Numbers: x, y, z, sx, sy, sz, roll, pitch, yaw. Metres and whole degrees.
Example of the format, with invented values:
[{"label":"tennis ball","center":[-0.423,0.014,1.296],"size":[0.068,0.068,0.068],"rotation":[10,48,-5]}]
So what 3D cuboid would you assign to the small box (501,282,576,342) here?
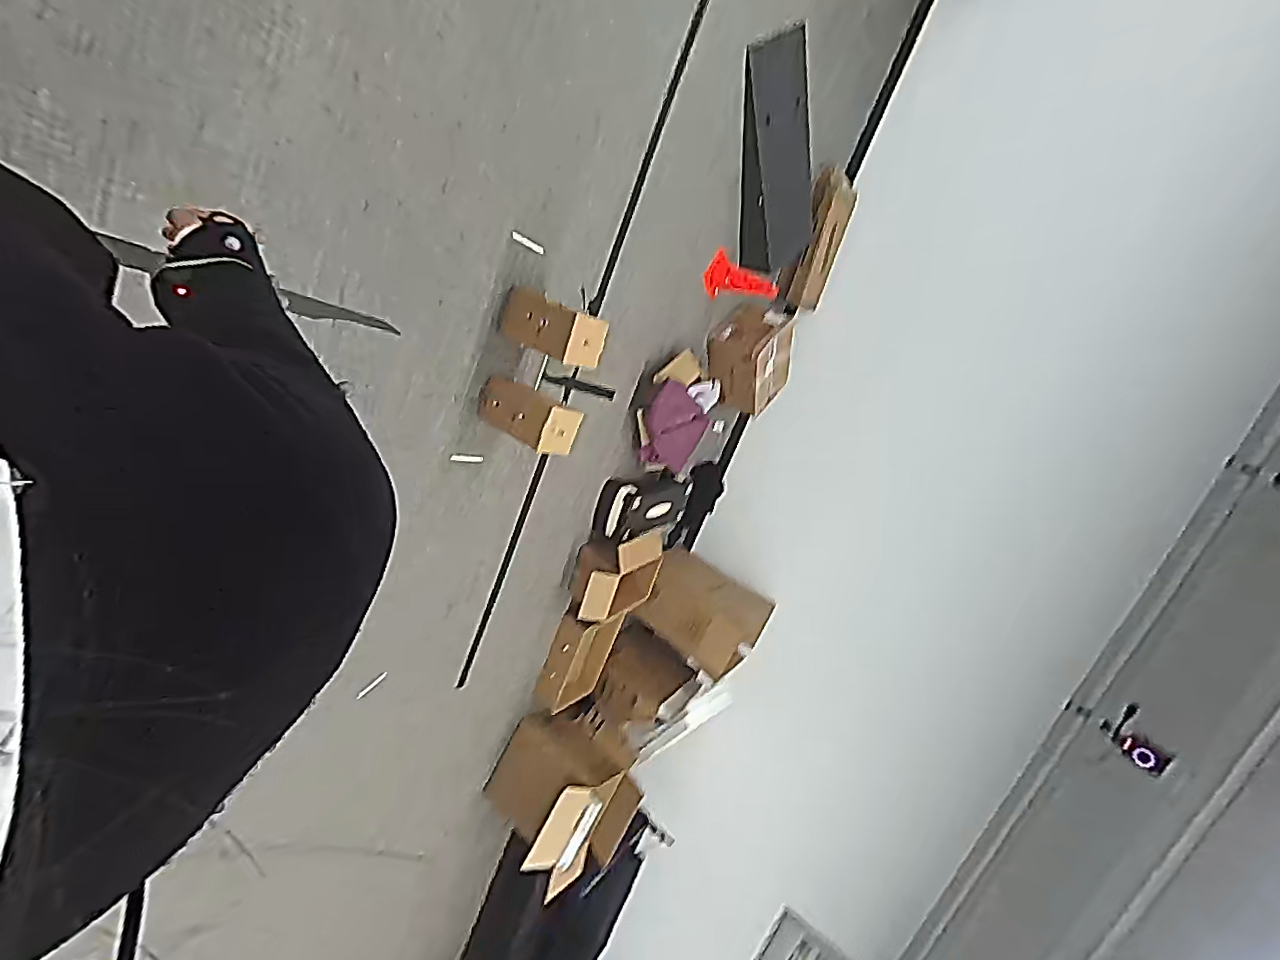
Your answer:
[{"label":"small box","center":[-0.361,-0.572,1.894],"size":[0.168,0.176,0.179],"rotation":[-2,118,-58]}]

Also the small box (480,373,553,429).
[{"label":"small box","center":[-0.461,-0.286,1.997],"size":[0.179,0.176,0.168],"rotation":[1,115,-58]}]

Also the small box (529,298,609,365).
[{"label":"small box","center":[-0.239,-0.499,1.816],"size":[0.179,0.176,0.168],"rotation":[-5,118,-56]}]

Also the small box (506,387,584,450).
[{"label":"small box","center":[-0.336,-0.217,1.911],"size":[0.179,0.176,0.168],"rotation":[4,112,-59]}]
